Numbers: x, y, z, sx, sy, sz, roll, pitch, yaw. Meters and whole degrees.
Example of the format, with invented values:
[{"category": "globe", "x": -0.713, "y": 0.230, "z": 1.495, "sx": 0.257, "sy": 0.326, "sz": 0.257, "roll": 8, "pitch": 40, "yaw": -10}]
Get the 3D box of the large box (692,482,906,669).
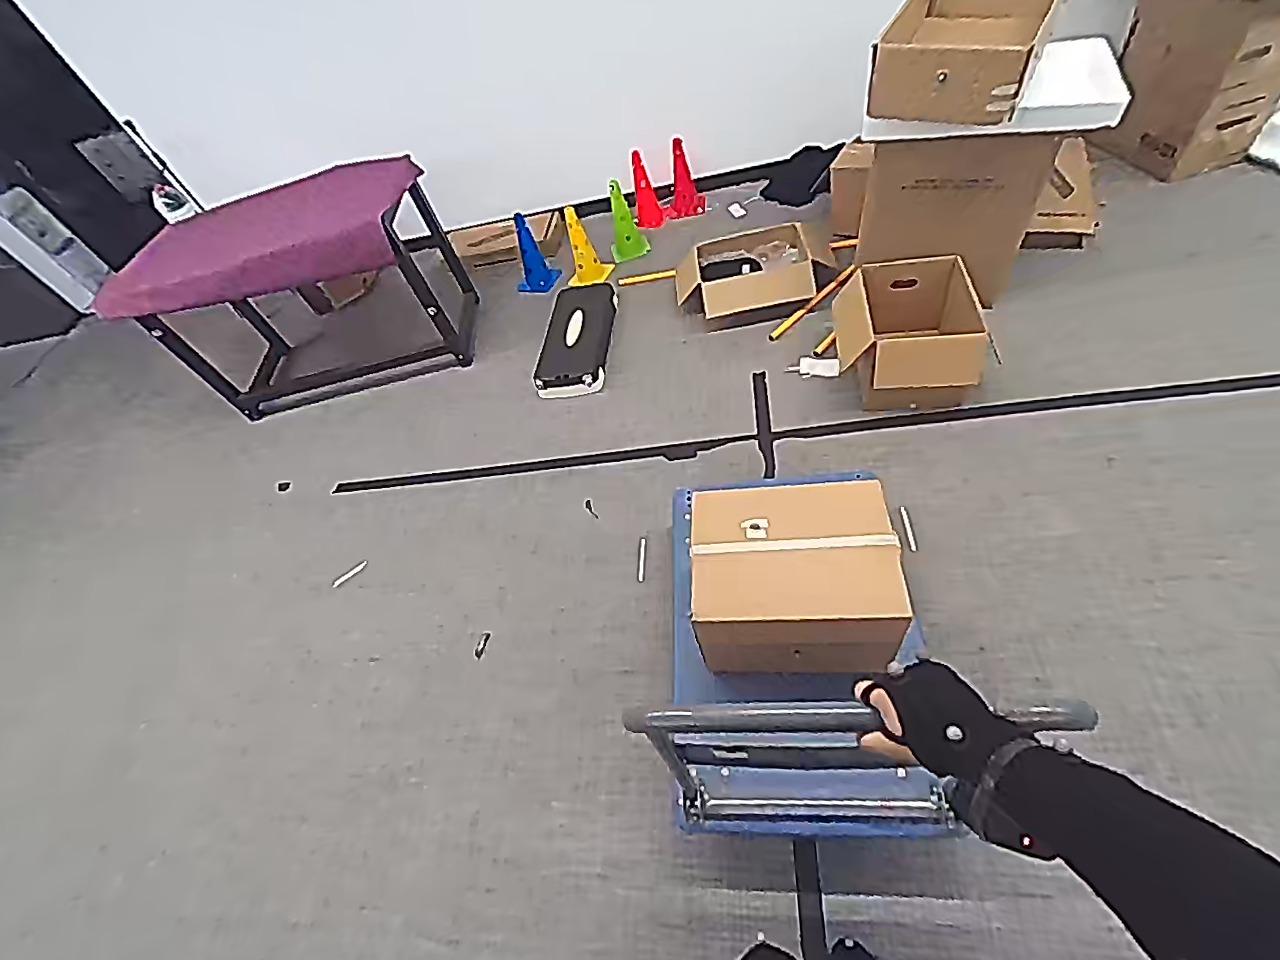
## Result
[{"category": "large box", "x": 0.340, "y": 0.232, "z": 1.237, "sx": 0.408, "sy": 0.320, "sz": 0.320, "roll": -5, "pitch": 51, "yaw": 13}]
